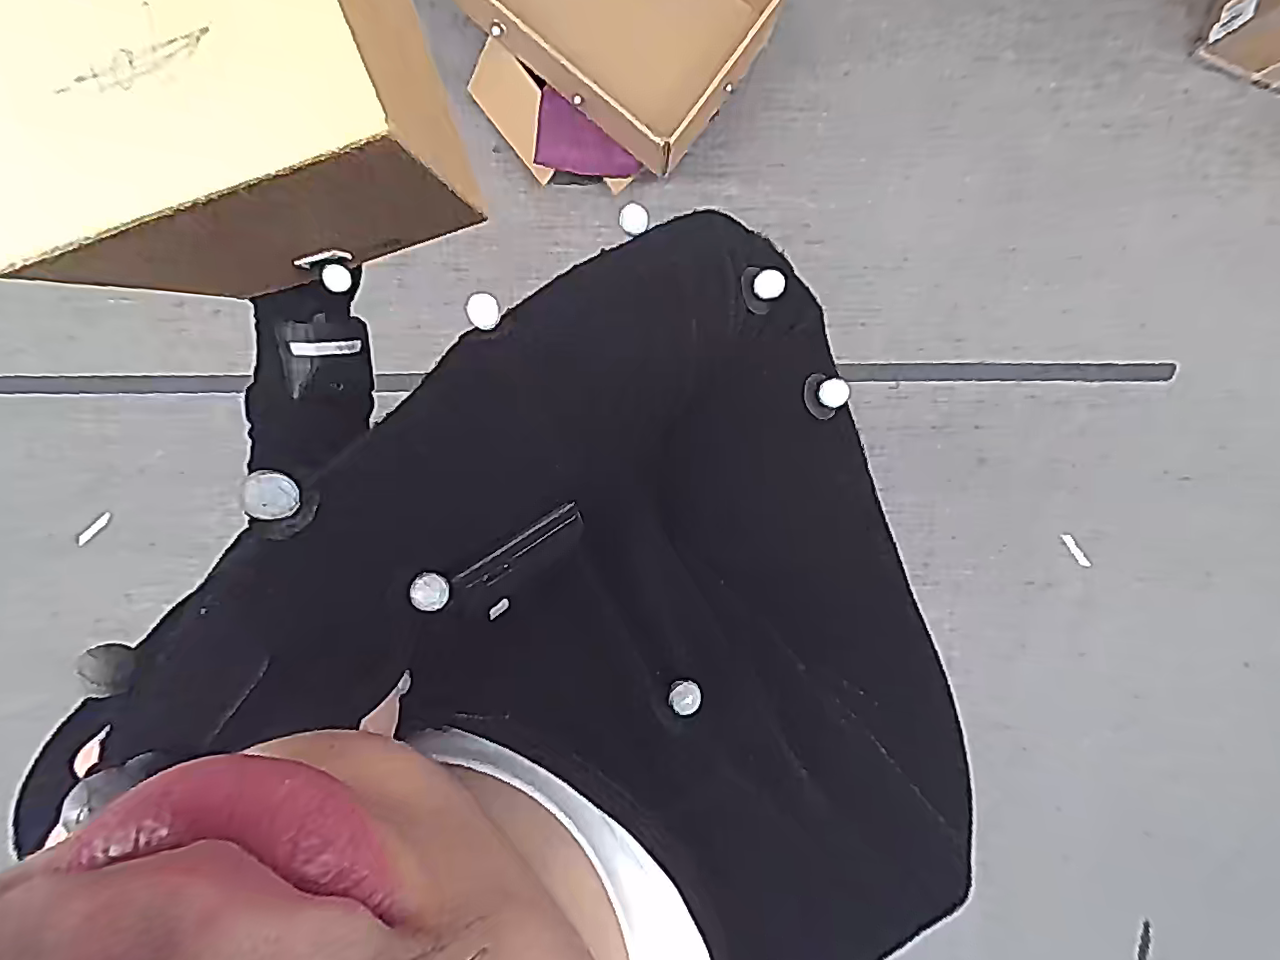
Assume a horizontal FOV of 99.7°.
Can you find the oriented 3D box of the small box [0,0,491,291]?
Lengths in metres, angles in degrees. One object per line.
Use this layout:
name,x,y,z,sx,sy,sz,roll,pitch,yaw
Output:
small box,-0.192,-0.205,0.261,0.168,0.176,0.179,-18,106,3
